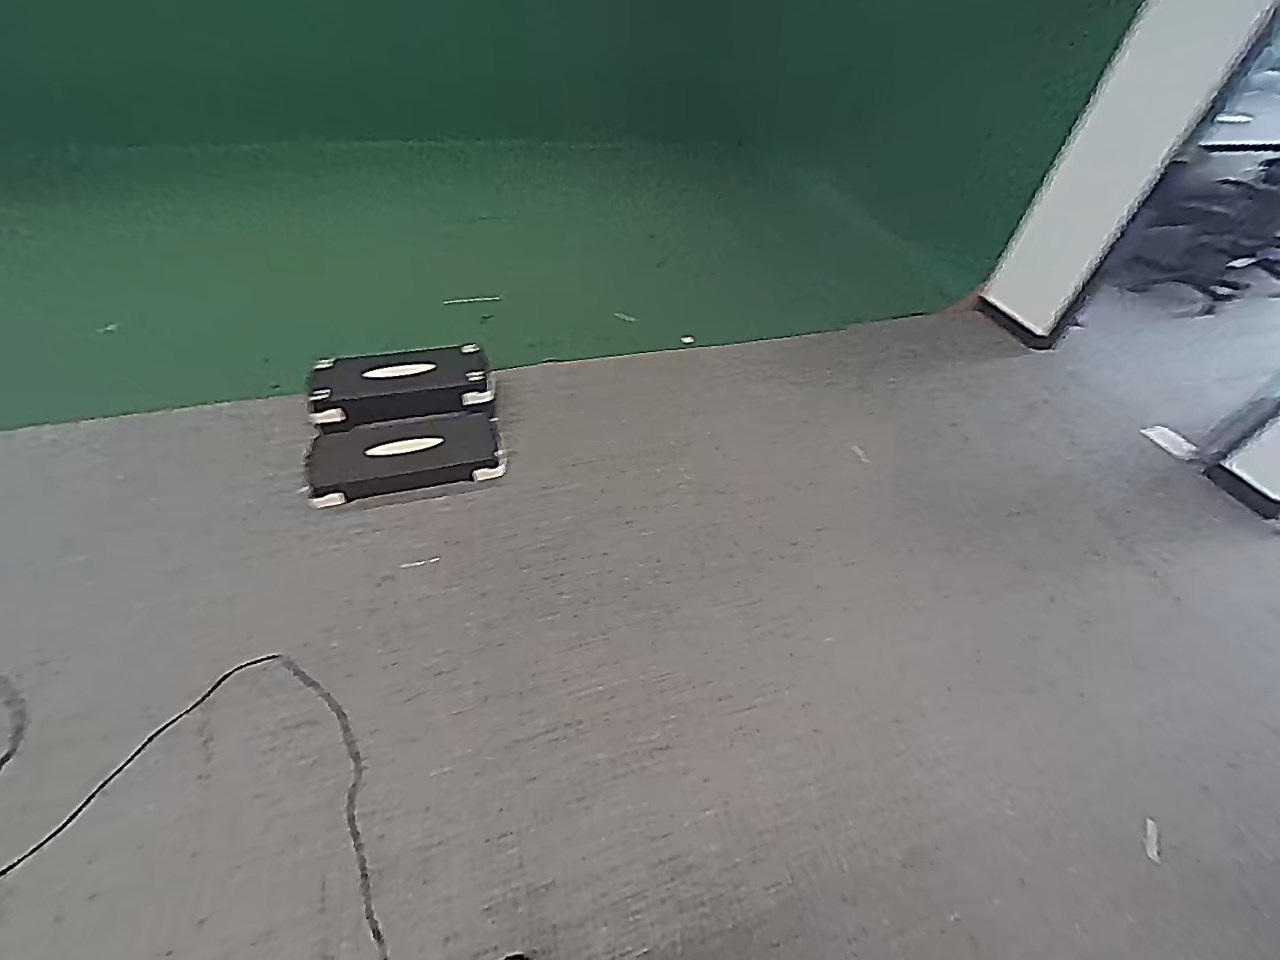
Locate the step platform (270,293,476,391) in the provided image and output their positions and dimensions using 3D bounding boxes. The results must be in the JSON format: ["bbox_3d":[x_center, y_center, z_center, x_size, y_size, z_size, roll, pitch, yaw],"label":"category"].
[{"bbox_3d":[-0.977,-0.528,2.047,0.684,0.204,0.286,-10,50,-14],"label":"step platform"}]
